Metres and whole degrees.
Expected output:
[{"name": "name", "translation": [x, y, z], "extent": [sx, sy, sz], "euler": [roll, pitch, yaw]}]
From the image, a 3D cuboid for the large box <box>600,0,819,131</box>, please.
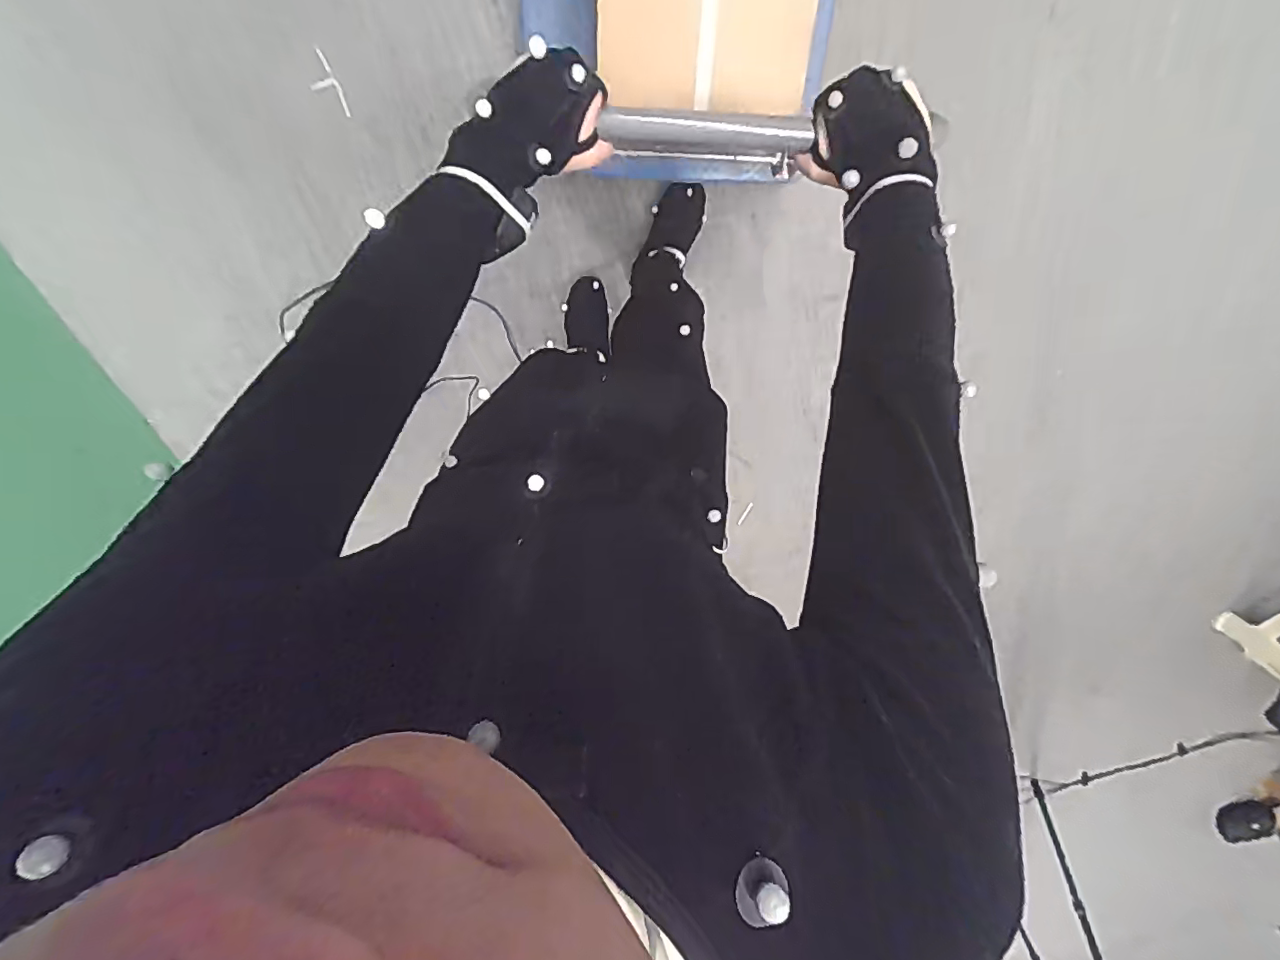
[{"name": "large box", "translation": [0.101, -0.806, 0.864], "extent": [0.320, 0.320, 0.408], "euler": [1, 120, -2]}]
